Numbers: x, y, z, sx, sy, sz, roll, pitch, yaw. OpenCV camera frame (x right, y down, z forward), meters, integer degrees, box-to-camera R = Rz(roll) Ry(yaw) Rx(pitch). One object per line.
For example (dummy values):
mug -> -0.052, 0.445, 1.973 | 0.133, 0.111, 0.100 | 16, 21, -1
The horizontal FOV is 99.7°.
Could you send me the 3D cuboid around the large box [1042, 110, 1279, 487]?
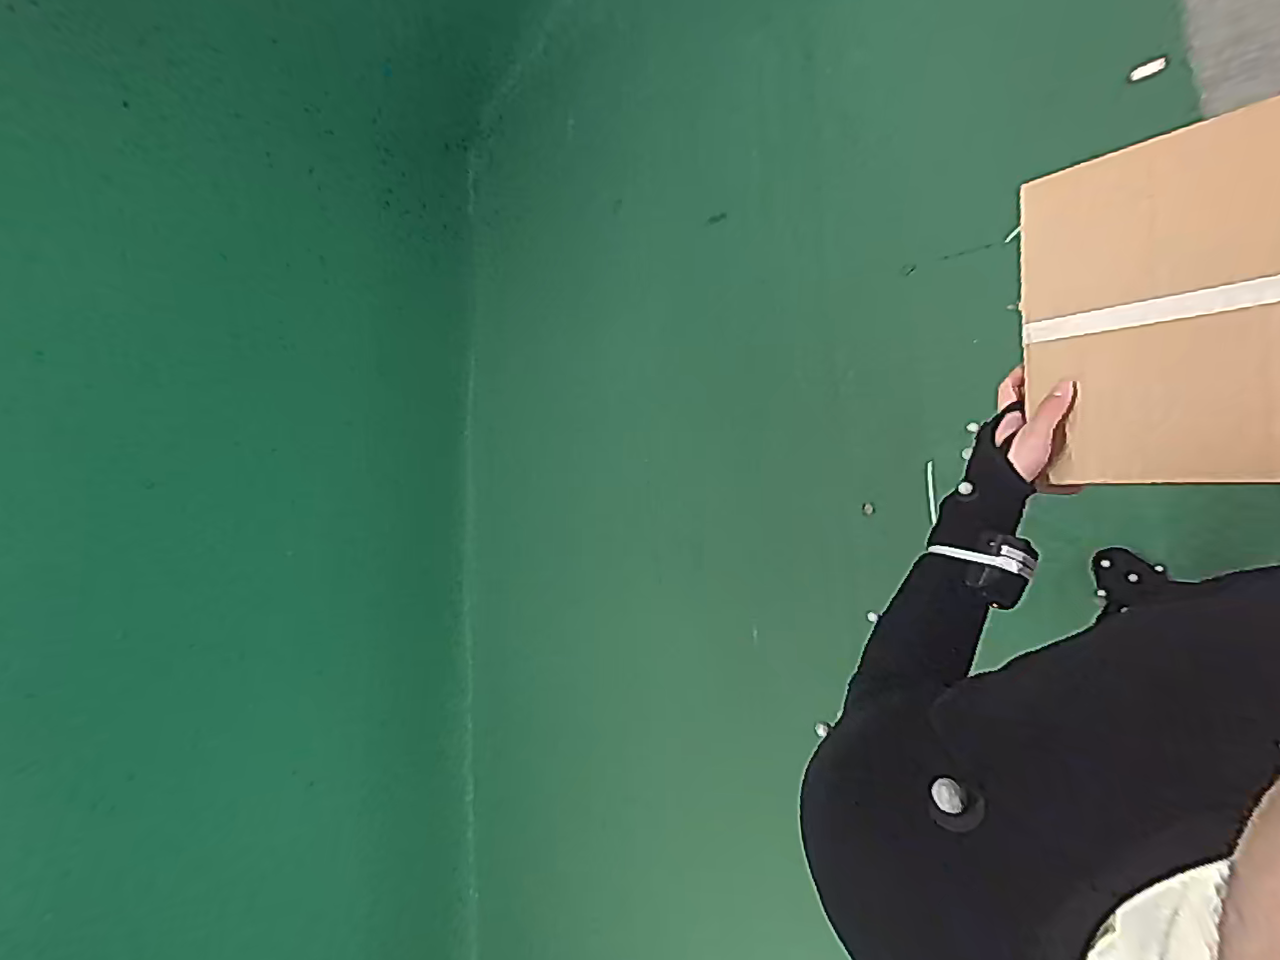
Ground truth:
large box -> 0.664, -0.153, 0.517 | 0.408, 0.320, 0.320 | -1, 90, 47
